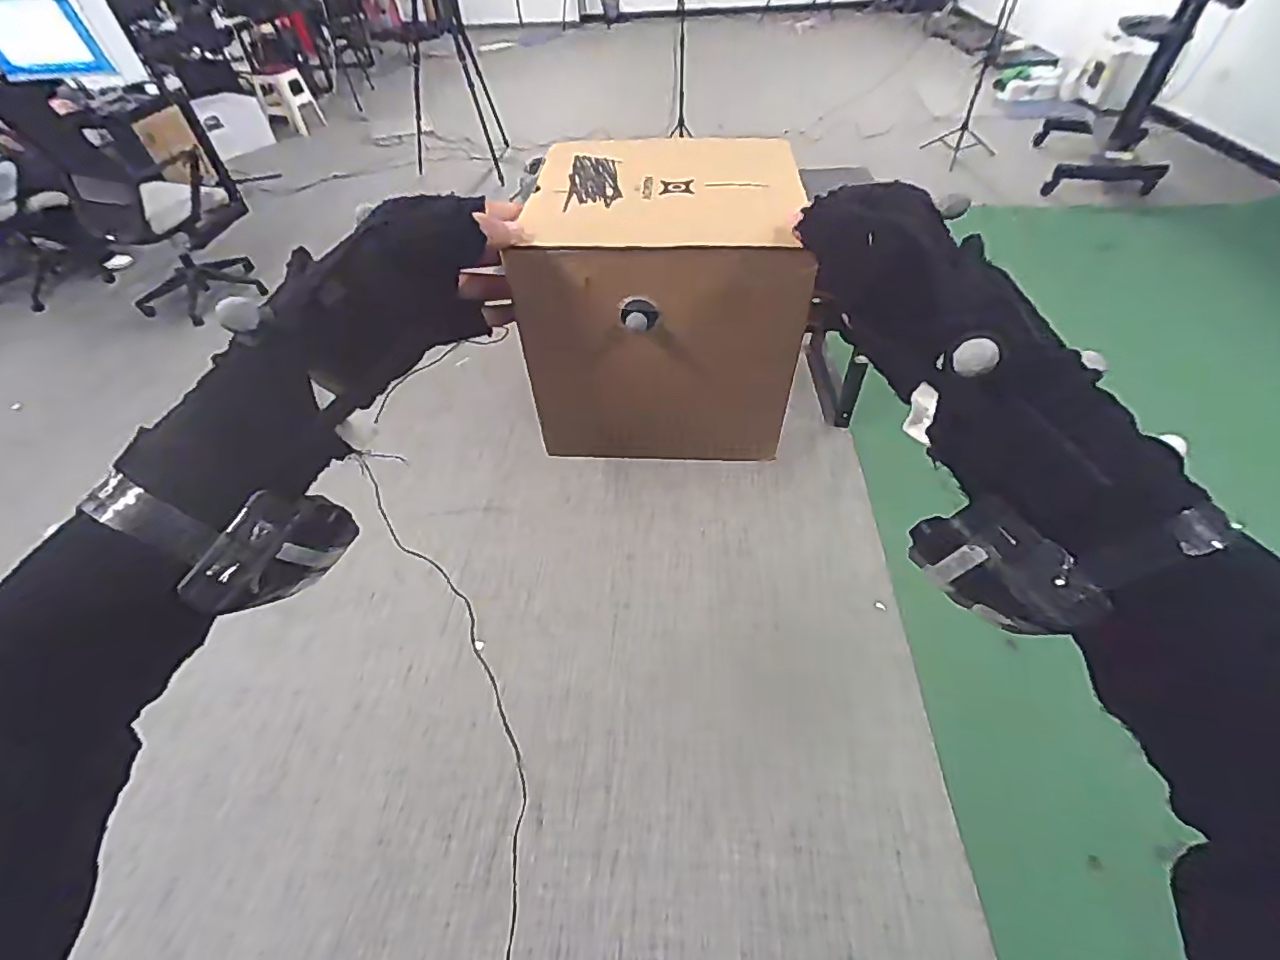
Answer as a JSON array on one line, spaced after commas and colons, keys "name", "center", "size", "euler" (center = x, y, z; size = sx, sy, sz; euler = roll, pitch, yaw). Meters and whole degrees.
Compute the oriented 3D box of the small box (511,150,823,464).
[{"name": "small box", "center": [0.022, -0.127, 0.407], "size": [0.179, 0.176, 0.168], "euler": [2, 49, 4]}]
